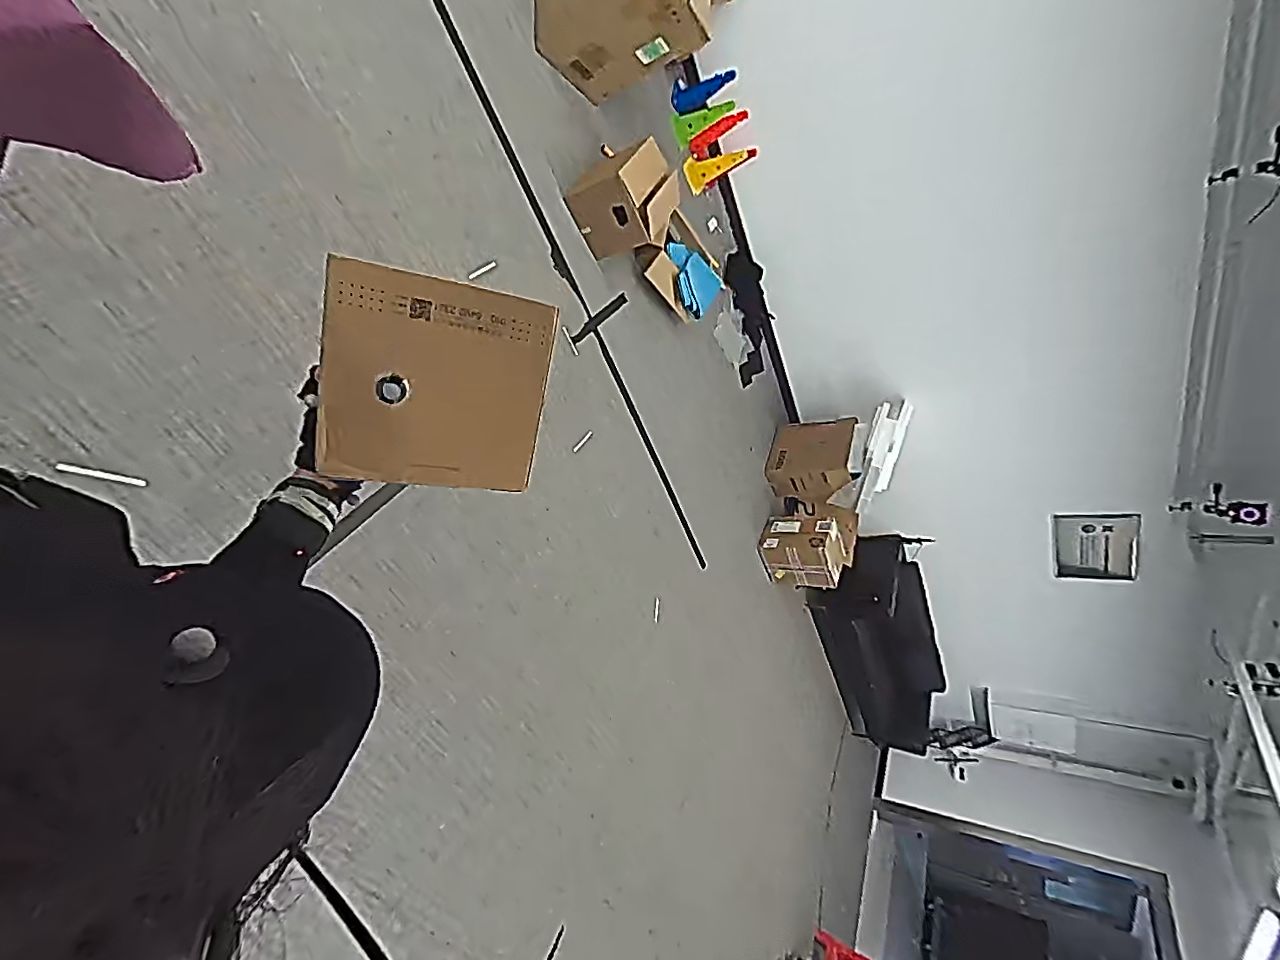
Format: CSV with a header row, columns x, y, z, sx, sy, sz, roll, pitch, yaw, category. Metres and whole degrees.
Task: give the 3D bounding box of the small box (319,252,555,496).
x,y,z,sx,sy,sz,roll,pitch,yaw,category
-0.186,-0.098,0.487,0.168,0.179,0.176,7,108,-29,small box
